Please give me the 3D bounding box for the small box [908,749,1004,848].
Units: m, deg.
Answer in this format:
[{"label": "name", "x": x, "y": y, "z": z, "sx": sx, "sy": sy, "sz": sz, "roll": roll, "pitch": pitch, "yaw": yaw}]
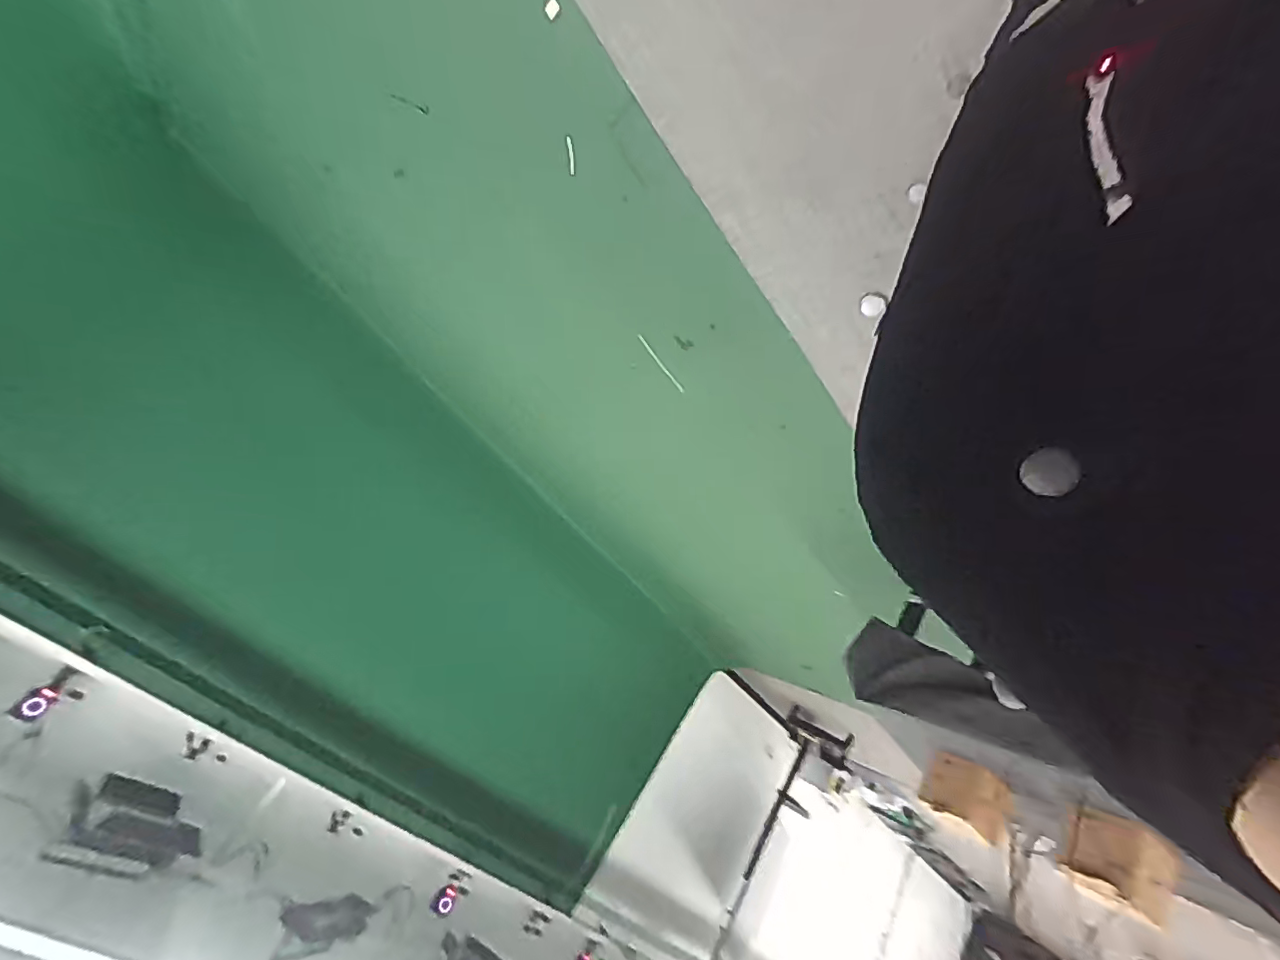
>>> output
[{"label": "small box", "x": 0.947, "y": 0.943, "z": 1.617, "sx": 0.179, "sy": 0.176, "sz": 0.168, "roll": 43, "pitch": 157, "yaw": -17}]
